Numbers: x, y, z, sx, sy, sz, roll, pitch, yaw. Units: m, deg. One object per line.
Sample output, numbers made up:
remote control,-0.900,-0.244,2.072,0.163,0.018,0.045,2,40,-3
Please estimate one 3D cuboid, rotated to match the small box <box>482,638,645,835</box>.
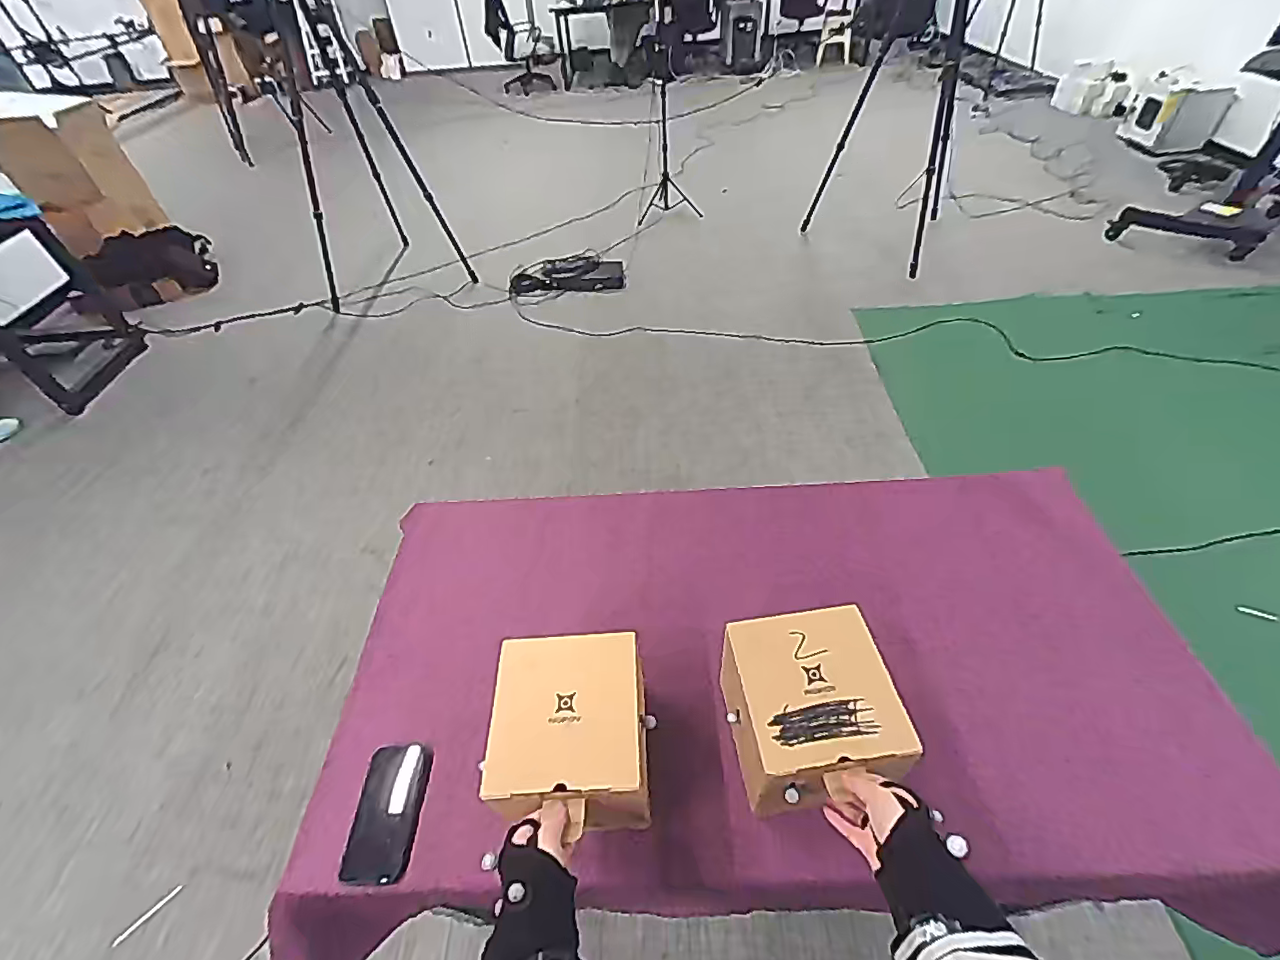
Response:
small box,-0.080,0.316,0.667,0.168,0.176,0.179,-4,47,1
